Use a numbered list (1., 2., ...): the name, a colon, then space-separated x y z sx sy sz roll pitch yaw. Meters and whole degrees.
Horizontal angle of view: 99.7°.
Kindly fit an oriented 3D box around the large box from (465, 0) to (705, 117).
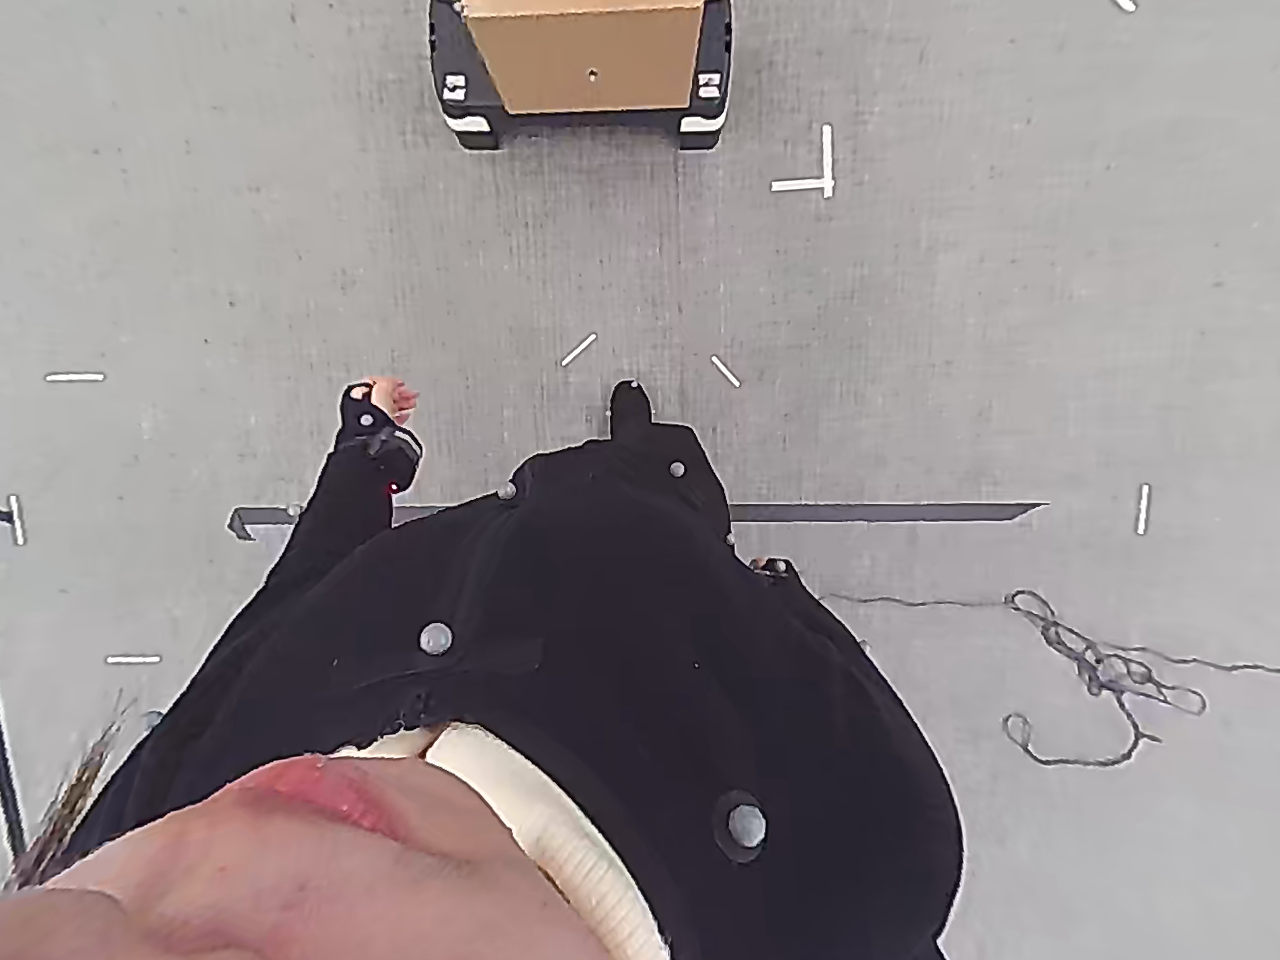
1. large box: -0.094 -0.939 1.023 0.408 0.320 0.320 -2 97 2
